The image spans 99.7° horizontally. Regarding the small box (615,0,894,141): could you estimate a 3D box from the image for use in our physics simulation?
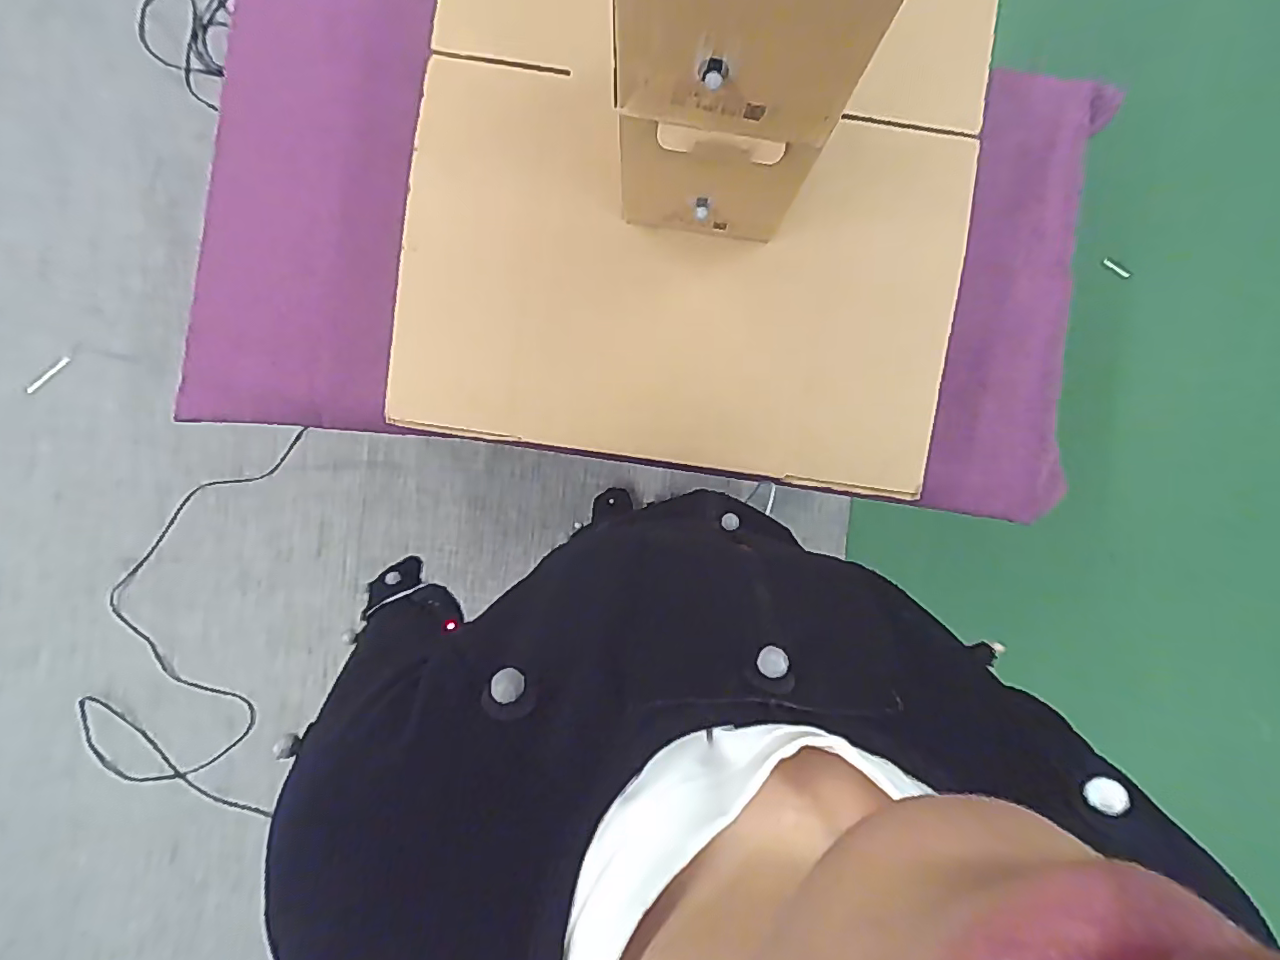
[{"bbox_3d":[0.075,-0.365,0.346,0.168,0.176,0.179,8,88,-1],"label":"small box"}]

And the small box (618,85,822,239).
[{"bbox_3d":[0.073,-0.361,0.508,0.168,0.176,0.179,8,88,0],"label":"small box"}]
